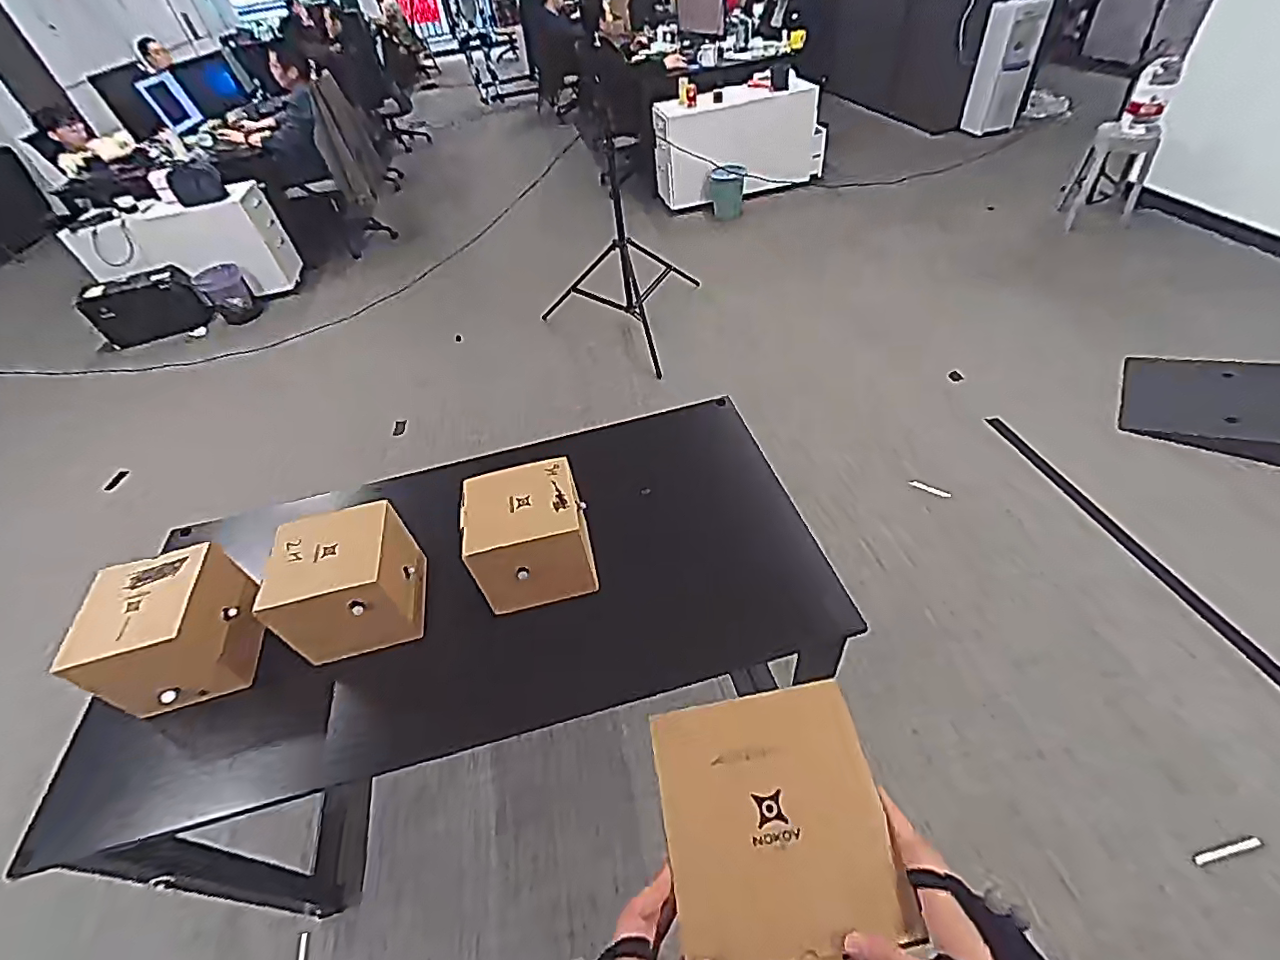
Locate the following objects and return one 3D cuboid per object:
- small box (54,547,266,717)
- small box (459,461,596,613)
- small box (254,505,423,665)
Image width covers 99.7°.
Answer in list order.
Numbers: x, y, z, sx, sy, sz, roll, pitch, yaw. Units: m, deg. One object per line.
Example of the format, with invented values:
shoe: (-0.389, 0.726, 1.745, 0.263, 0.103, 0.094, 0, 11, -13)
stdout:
small box: (-0.723, 0.238, 0.848, 0.168, 0.176, 0.179, -16, 47, -6)
small box: (-0.183, 0.098, 0.899, 0.179, 0.176, 0.168, -14, 46, -3)
small box: (-0.466, 0.170, 0.872, 0.179, 0.176, 0.168, -14, 46, -6)
